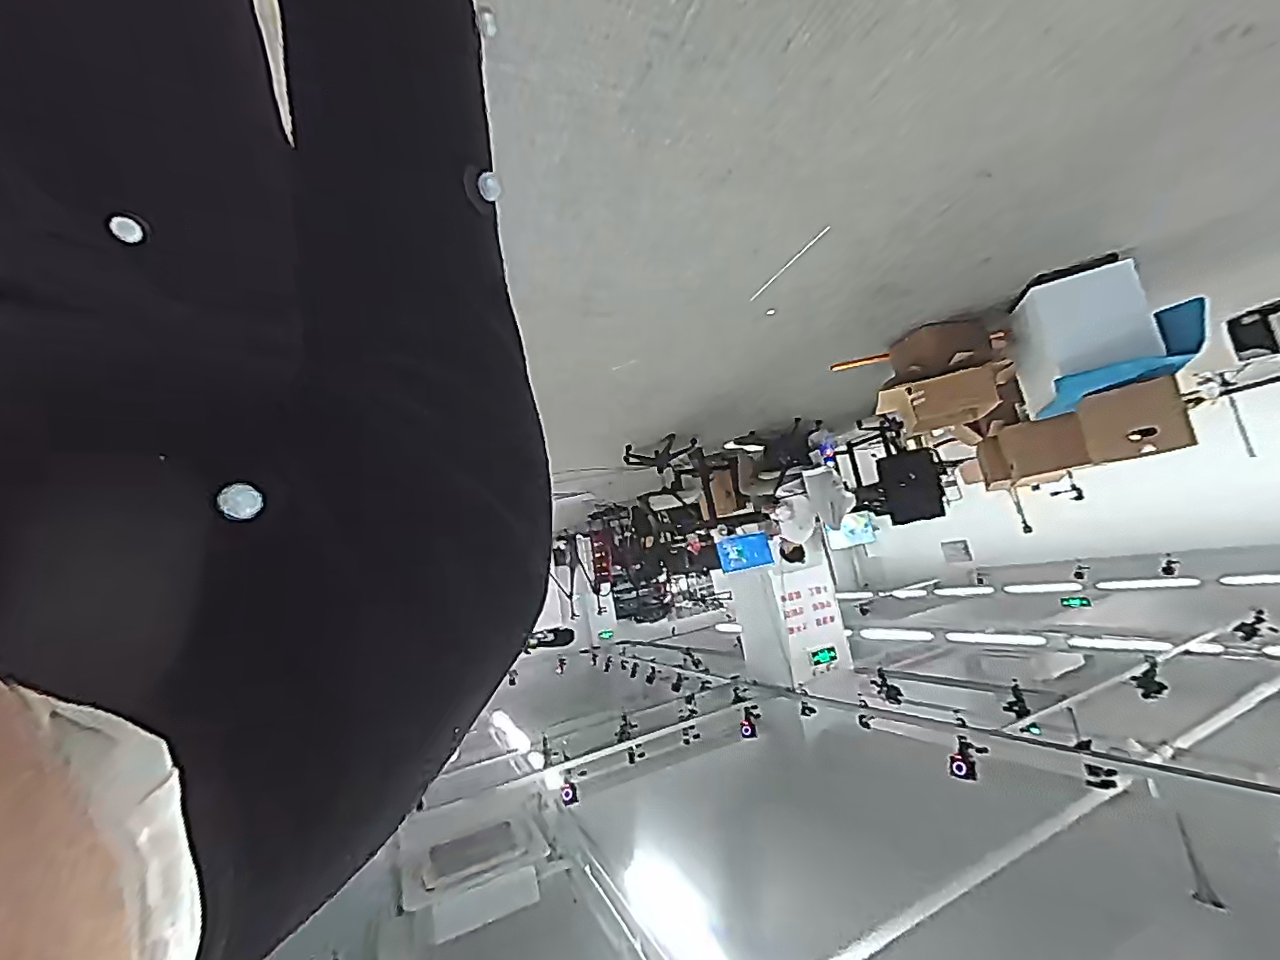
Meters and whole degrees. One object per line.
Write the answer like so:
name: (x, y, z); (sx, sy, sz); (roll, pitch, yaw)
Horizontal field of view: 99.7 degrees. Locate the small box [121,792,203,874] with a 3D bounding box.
small box: (-1.668, 1.221, 1.890); (0.179, 0.176, 0.168); (-8, 170, -28)
